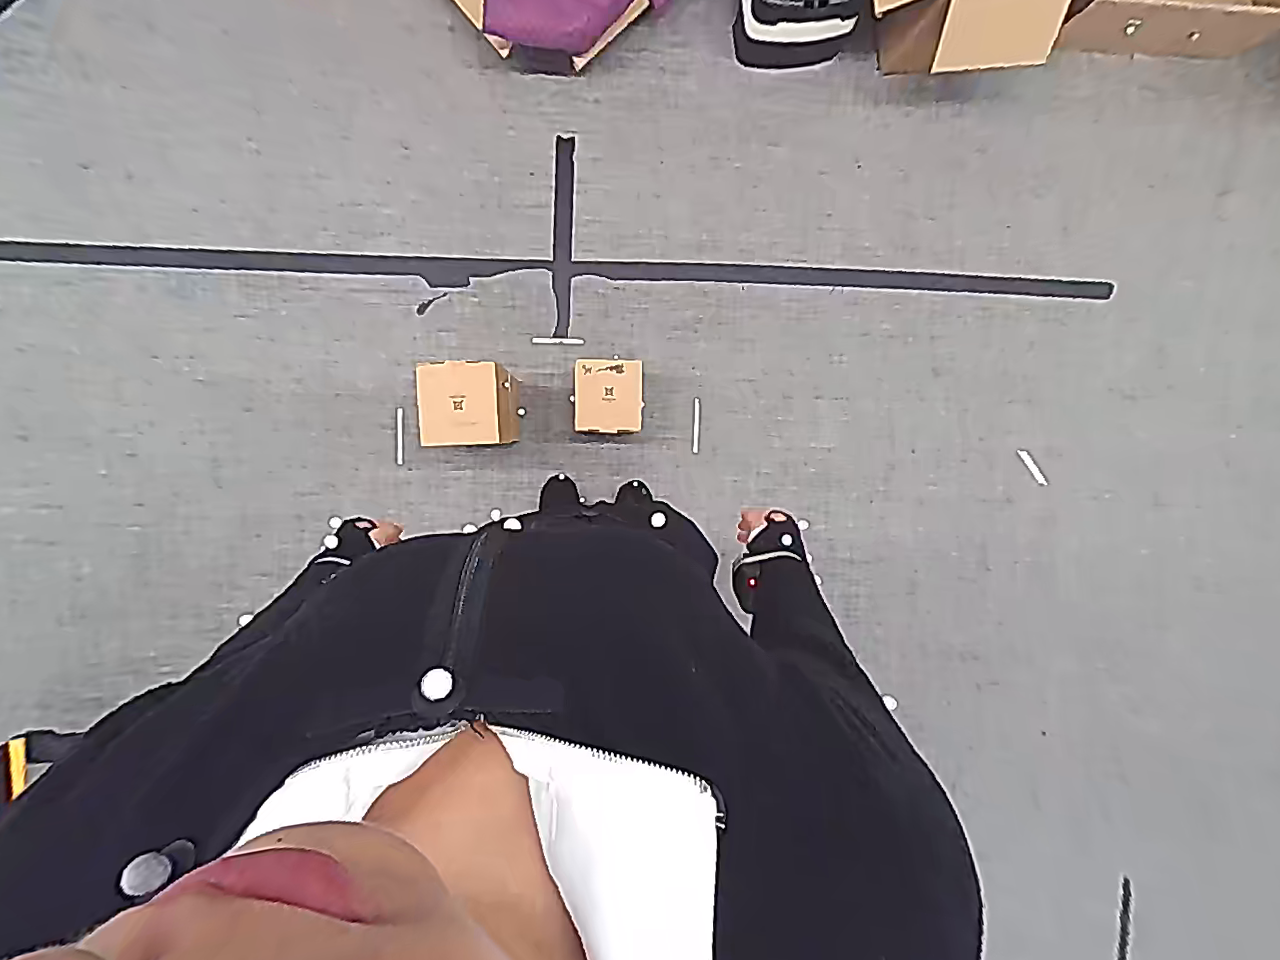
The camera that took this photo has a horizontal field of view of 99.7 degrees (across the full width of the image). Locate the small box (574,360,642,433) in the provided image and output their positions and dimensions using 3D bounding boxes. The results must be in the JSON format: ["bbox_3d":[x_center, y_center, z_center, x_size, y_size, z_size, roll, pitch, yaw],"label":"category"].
[{"bbox_3d":[-0.083,-0.211,1.405,0.168,0.176,0.179,1,94,-5],"label":"small box"}]

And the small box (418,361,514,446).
[{"bbox_3d":[-0.384,-0.166,1.218,0.168,0.176,0.179,-3,95,-3],"label":"small box"}]

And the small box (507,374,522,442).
[{"bbox_3d":[-0.402,-0.179,1.379,0.179,0.176,0.168,-1,94,-5],"label":"small box"}]
